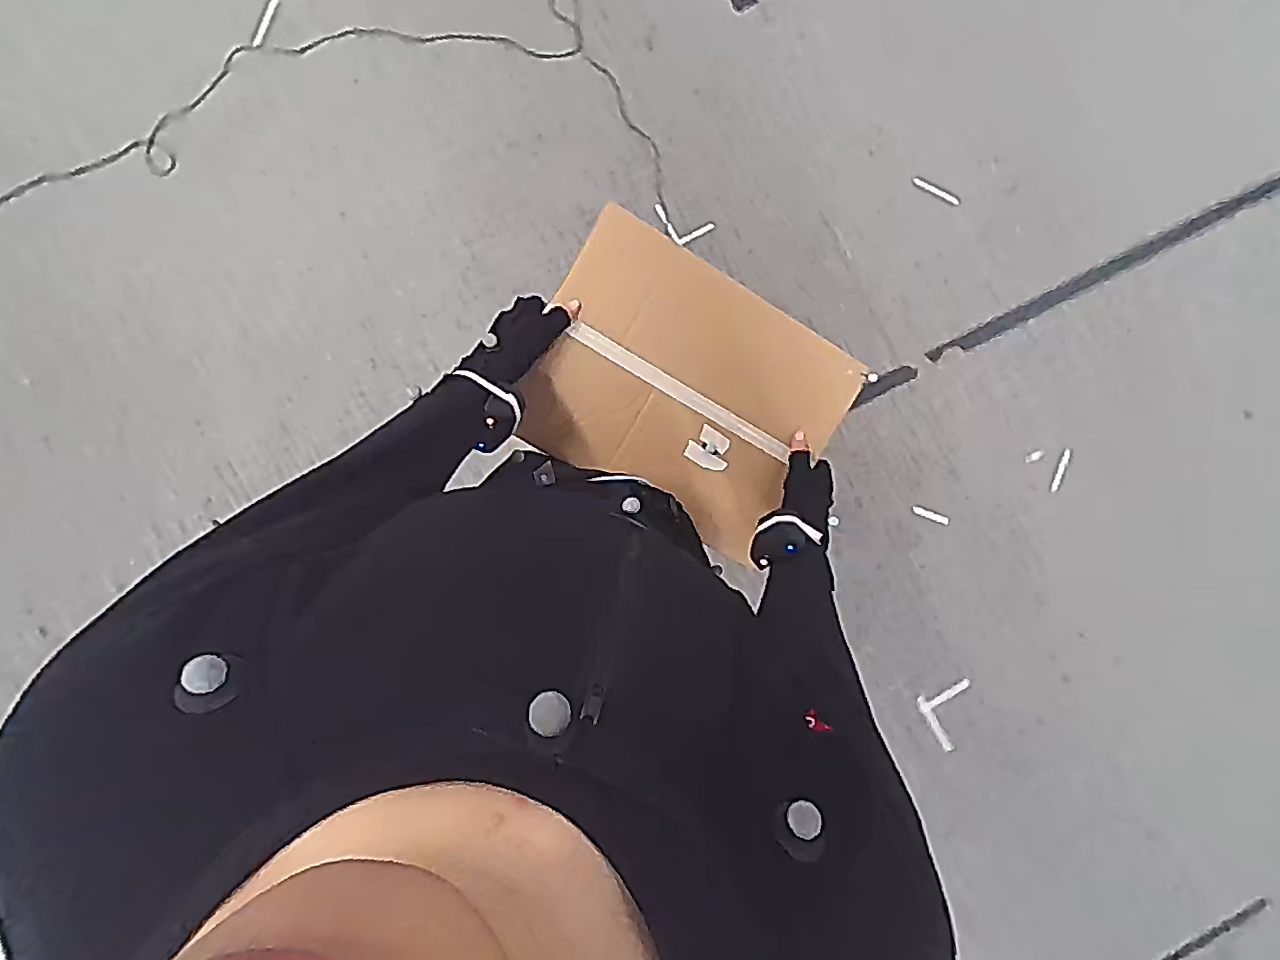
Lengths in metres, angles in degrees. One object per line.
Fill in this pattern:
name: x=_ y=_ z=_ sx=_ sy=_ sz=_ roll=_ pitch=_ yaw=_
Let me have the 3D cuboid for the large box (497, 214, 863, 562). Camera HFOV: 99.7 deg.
large box: x=0.043 y=-0.127 z=0.858 sx=0.408 sy=0.320 sz=0.320 roll=31 pitch=94 yaw=-8
